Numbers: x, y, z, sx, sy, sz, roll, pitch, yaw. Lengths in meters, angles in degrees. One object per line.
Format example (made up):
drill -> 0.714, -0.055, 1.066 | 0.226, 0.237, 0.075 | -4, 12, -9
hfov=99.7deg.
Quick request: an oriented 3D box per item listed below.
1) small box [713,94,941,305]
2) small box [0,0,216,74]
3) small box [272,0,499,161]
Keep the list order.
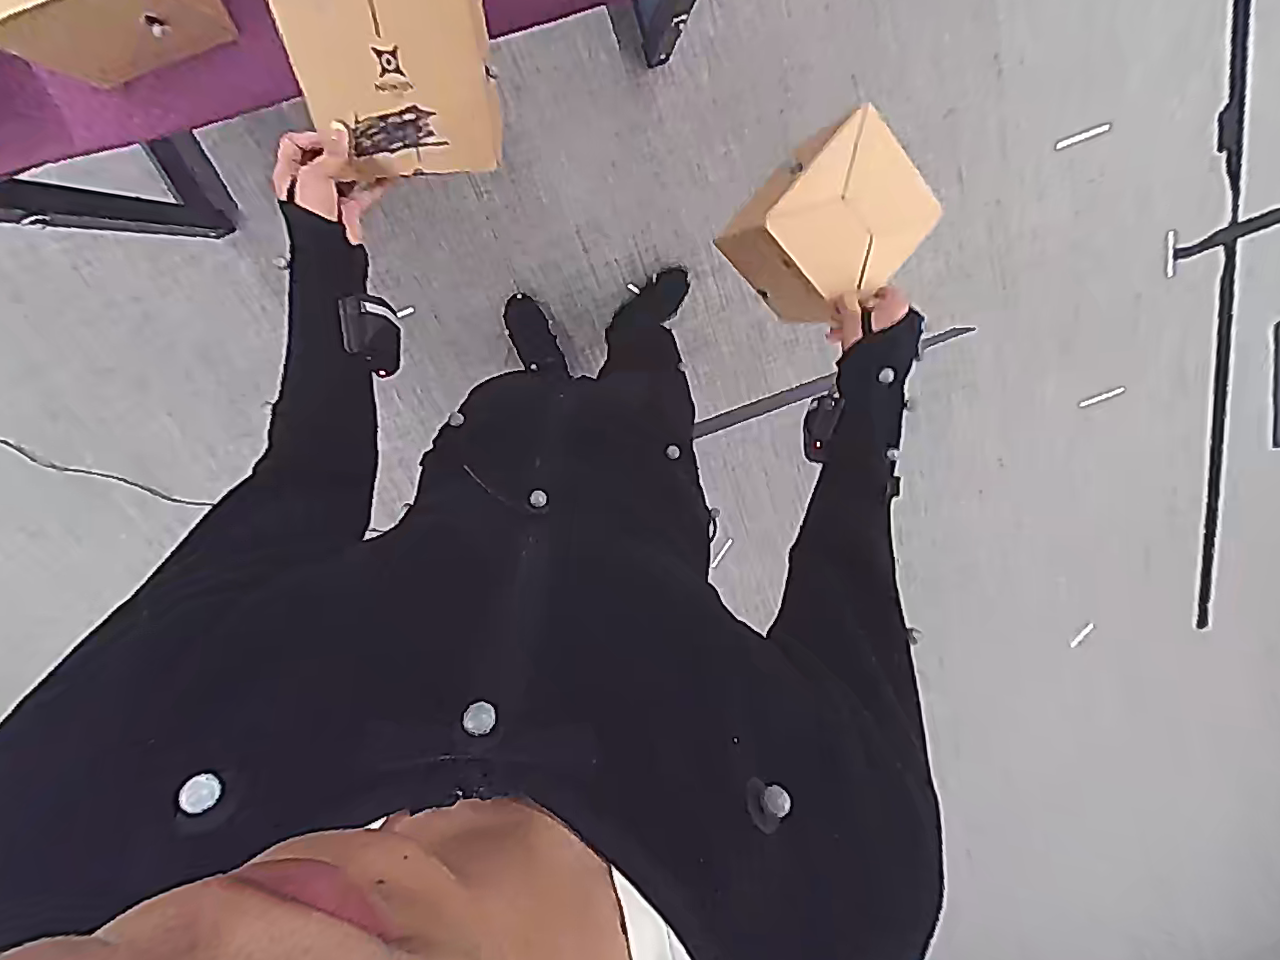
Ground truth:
small box -> 0.229, -0.340, 0.681 | 0.168, 0.176, 0.179 | 39, 95, -20
small box -> -0.569, -0.541, 0.529 | 0.179, 0.176, 0.168 | -21, 112, 0
small box -> -0.241, -0.449, 0.544 | 0.168, 0.176, 0.179 | -8, 138, -5
